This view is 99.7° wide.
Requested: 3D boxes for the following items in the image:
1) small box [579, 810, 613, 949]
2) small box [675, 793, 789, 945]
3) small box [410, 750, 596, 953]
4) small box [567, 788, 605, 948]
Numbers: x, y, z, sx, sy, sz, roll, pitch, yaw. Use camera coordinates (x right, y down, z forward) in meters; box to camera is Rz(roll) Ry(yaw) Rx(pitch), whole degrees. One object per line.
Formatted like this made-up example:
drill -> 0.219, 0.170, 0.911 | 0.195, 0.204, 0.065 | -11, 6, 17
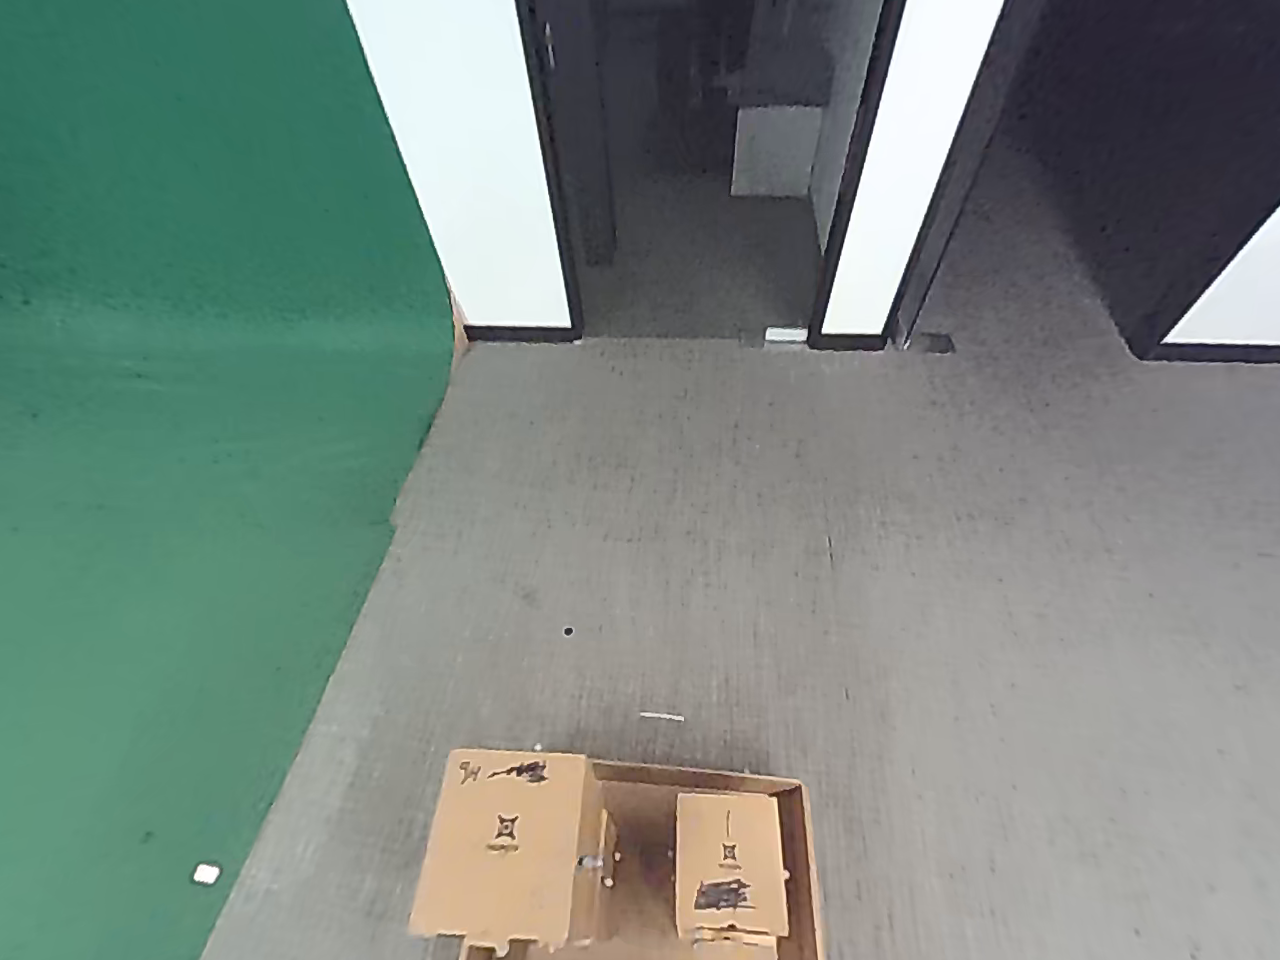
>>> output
small box -> -0.137, 0.656, 0.901 | 0.168, 0.176, 0.179 | 3, 52, 4
small box -> 0.147, 0.637, 0.891 | 0.168, 0.176, 0.179 | 4, 52, 5
small box -> -0.145, 0.443, 0.652 | 0.168, 0.176, 0.179 | 2, 52, 2
small box -> -0.143, 0.548, 0.777 | 0.168, 0.176, 0.179 | 2, 51, 3
